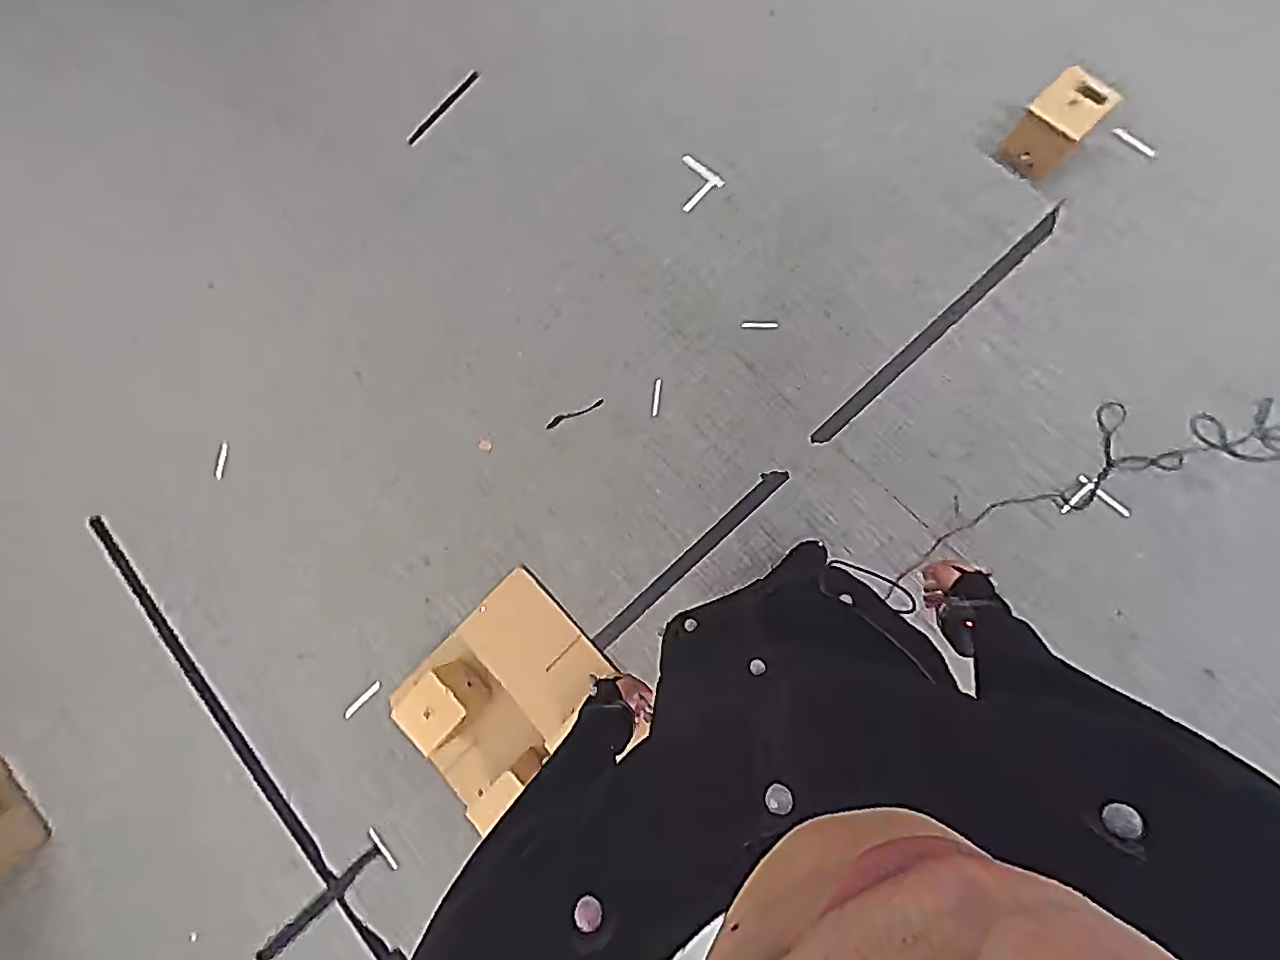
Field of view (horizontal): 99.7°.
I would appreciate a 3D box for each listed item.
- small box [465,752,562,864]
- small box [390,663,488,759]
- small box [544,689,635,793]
[{"bbox_3d":[-0.346,0.909,1.516,0.168,0.176,0.179,44,90,11],"label":"small box"},{"bbox_3d":[-0.583,0.672,1.593,0.168,0.176,0.179,41,89,12],"label":"small box"},{"bbox_3d":[-0.134,0.720,1.513,0.168,0.176,0.179,43,89,11],"label":"small box"}]
